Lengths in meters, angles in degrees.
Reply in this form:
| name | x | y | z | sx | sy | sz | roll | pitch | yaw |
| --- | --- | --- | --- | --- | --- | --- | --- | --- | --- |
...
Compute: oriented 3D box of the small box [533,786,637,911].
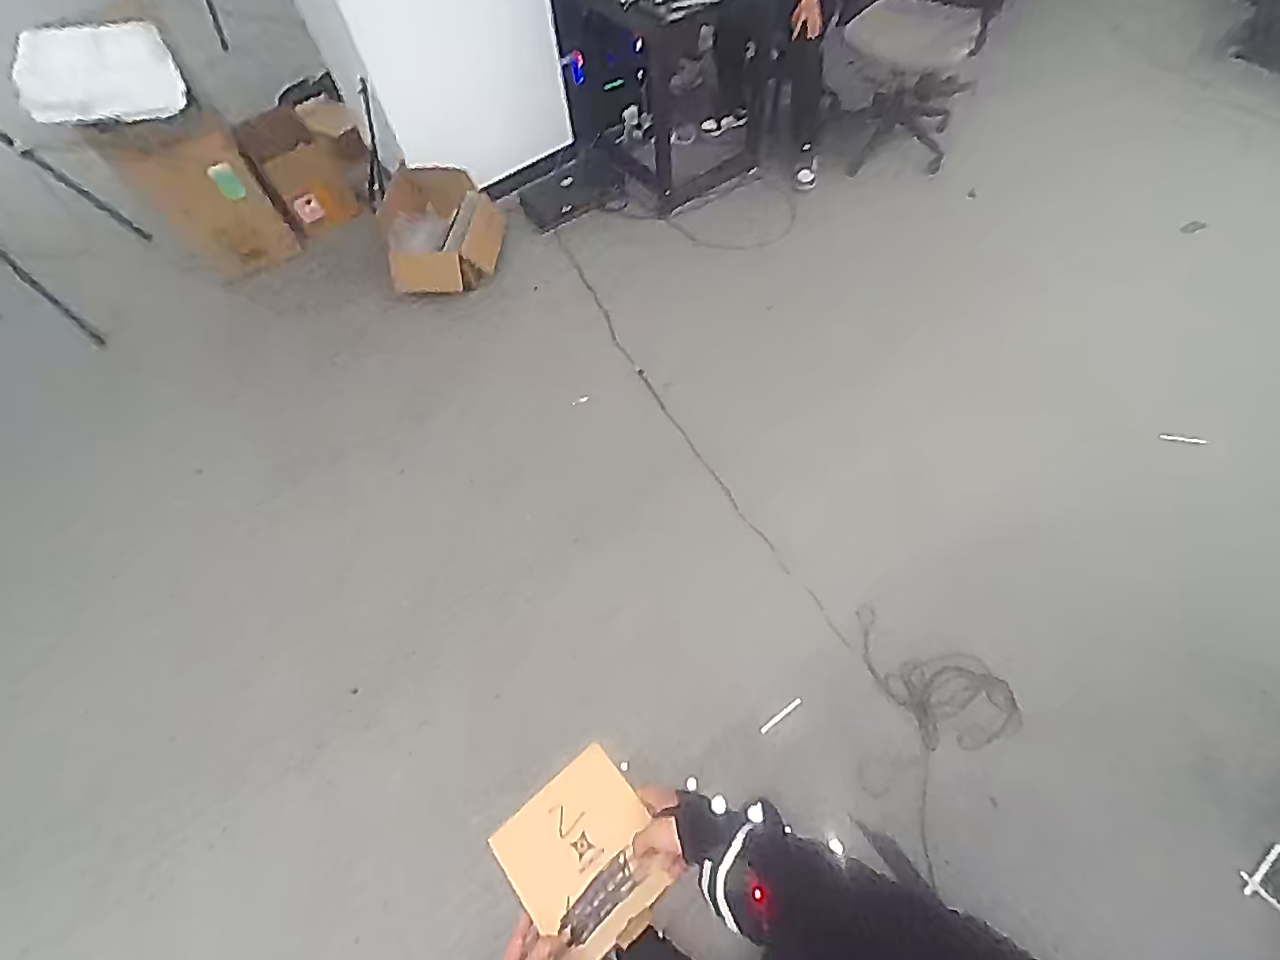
| name | x | y | z | sx | sy | sz | roll | pitch | yaw |
| --- | --- | --- | --- | --- | --- | --- | --- | --- | --- |
| small box | -0.122 | 0.844 | 1.253 | 0.168 | 0.176 | 0.179 | -31 | 63 | -11 |
